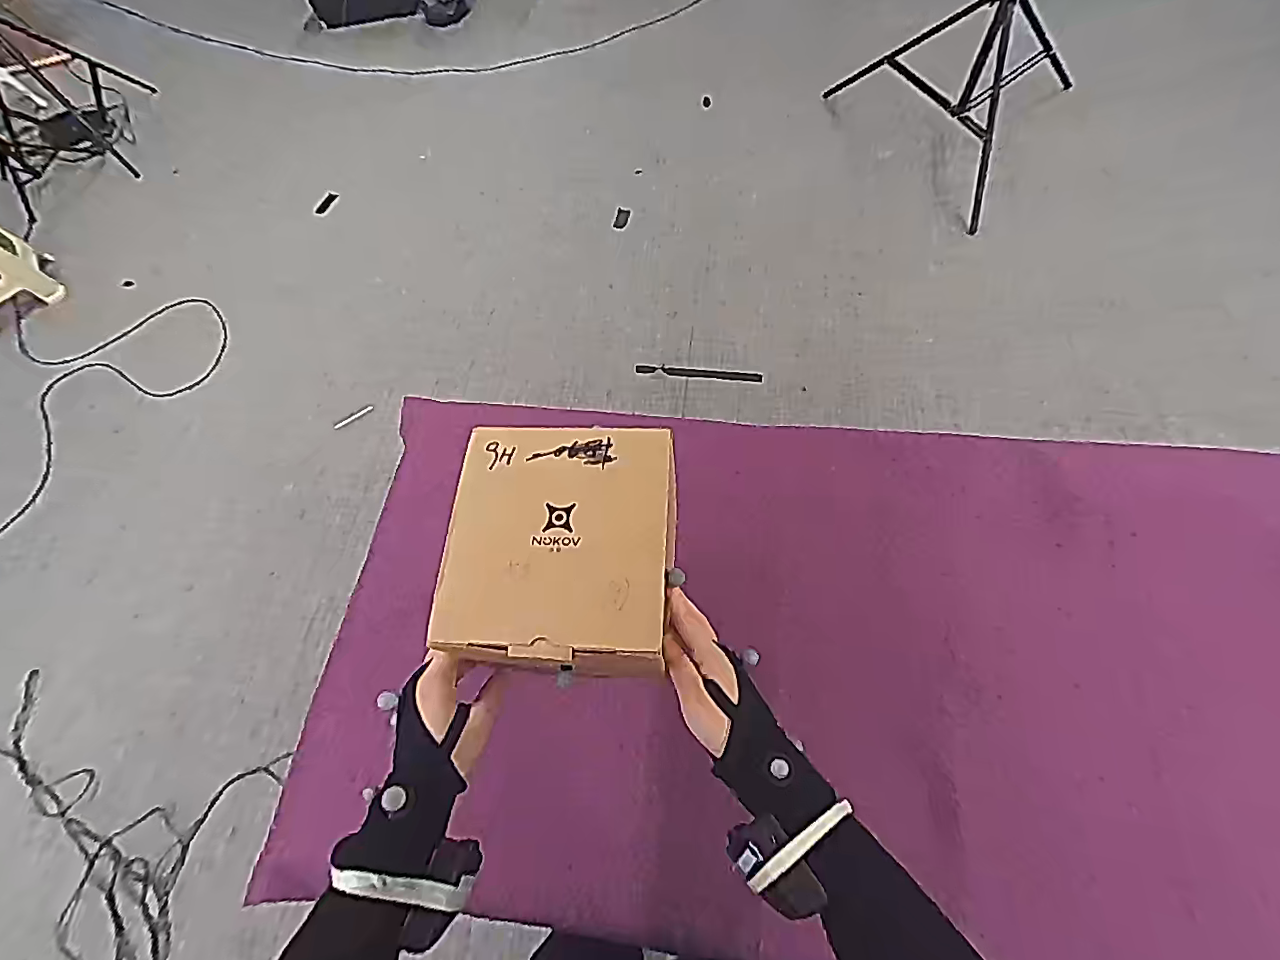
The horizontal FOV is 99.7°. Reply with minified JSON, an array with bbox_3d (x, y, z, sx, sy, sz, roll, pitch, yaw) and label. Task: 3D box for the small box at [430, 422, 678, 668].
[{"bbox_3d":[-0.054,0.065,0.475,0.168,0.176,0.179,1,65,6],"label":"small box"}]
